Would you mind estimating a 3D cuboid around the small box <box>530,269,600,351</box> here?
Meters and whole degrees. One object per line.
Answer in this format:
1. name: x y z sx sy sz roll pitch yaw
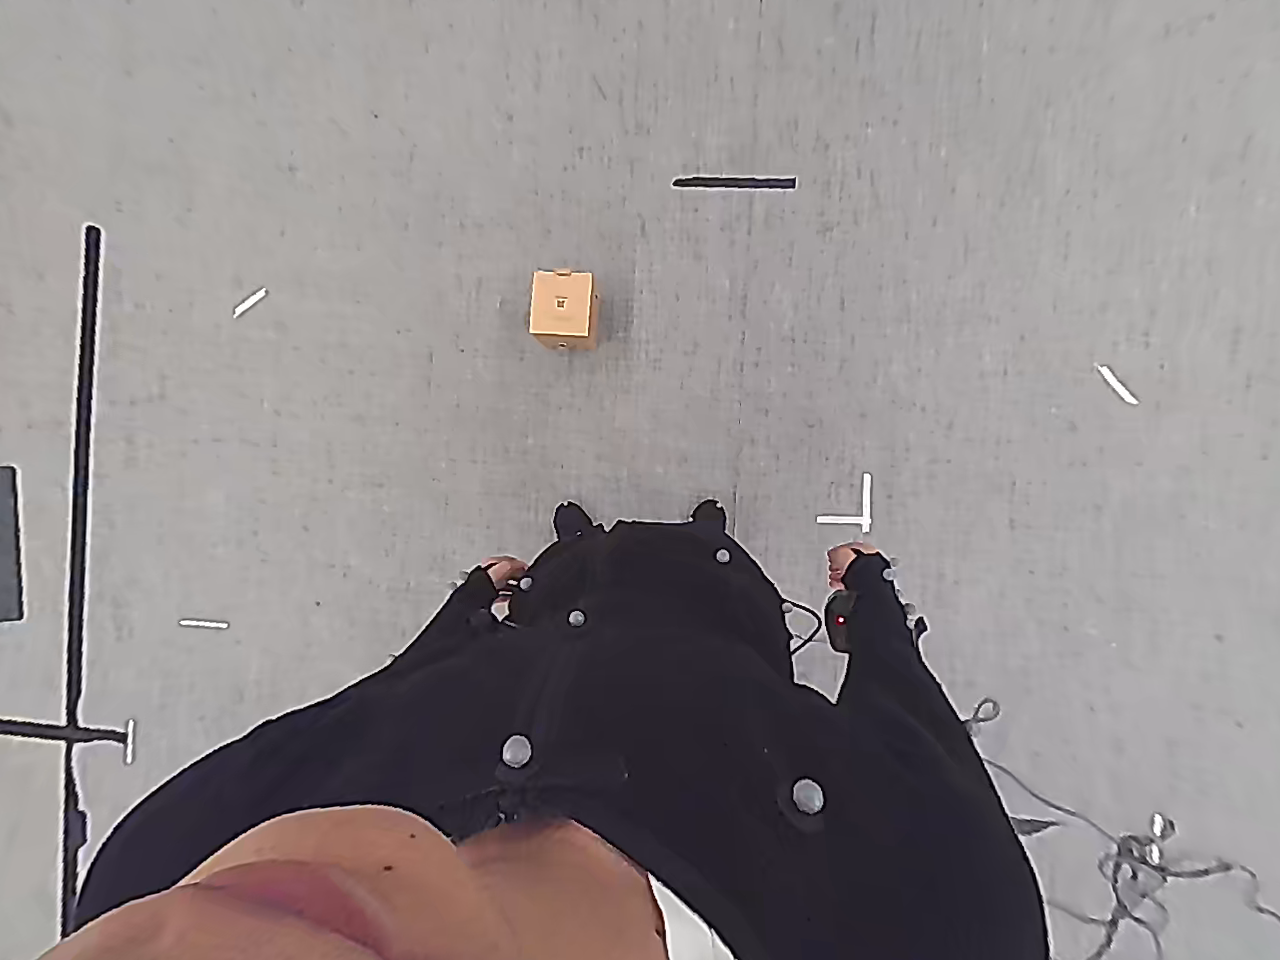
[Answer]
1. small box: -0.208 -0.480 1.543 0.168 0.176 0.179 4 91 4
